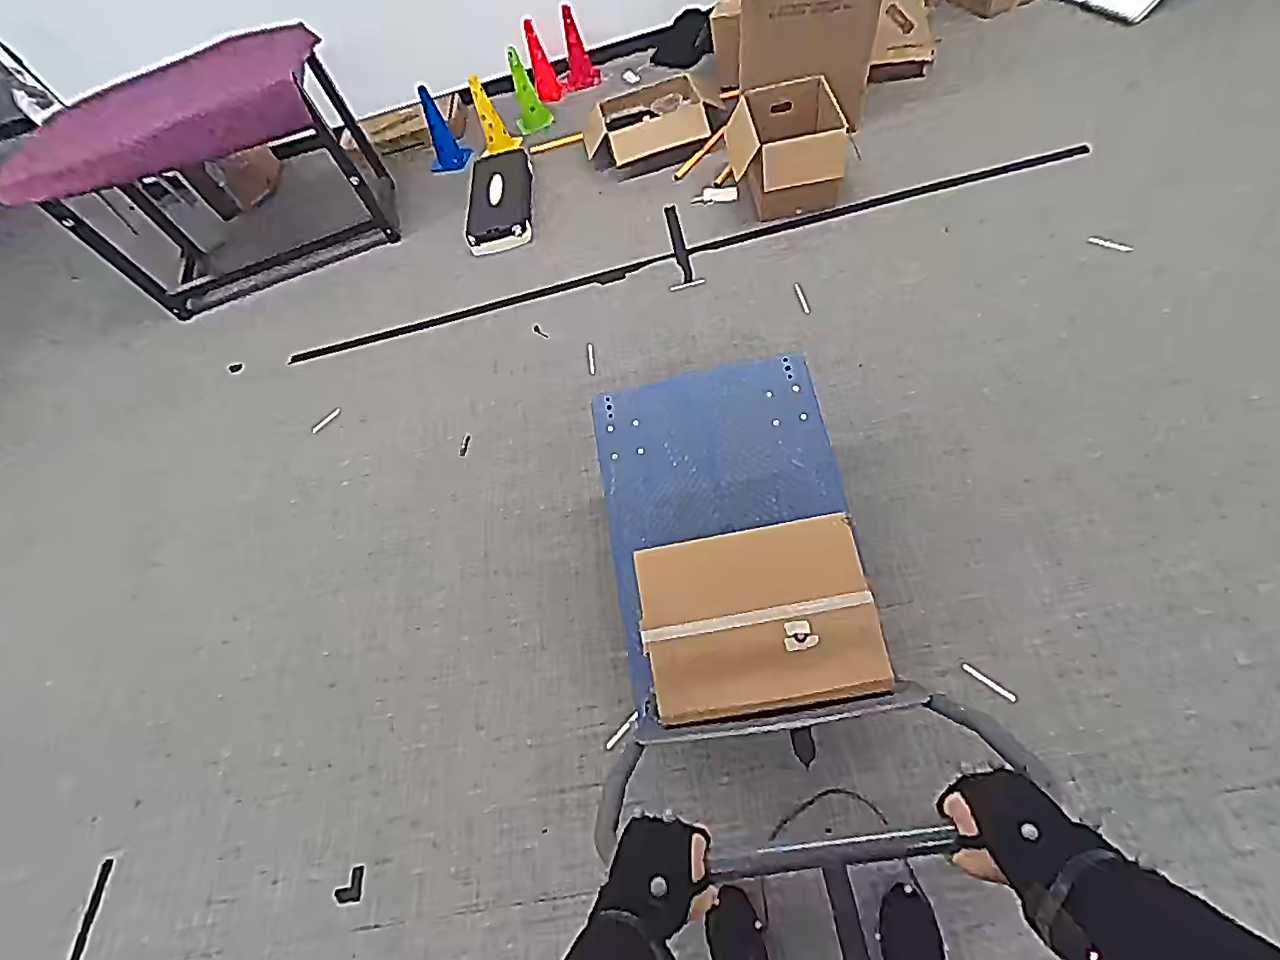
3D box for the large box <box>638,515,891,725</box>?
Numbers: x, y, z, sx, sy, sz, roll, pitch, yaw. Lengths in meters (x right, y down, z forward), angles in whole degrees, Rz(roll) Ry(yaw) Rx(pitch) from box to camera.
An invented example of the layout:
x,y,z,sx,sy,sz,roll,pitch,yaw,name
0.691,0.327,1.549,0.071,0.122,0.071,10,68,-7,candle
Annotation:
x,y,z,sx,sy,sz,roll,pitch,yaw,name
0.233,0.293,1.126,0.408,0.320,0.320,-12,73,4,large box
